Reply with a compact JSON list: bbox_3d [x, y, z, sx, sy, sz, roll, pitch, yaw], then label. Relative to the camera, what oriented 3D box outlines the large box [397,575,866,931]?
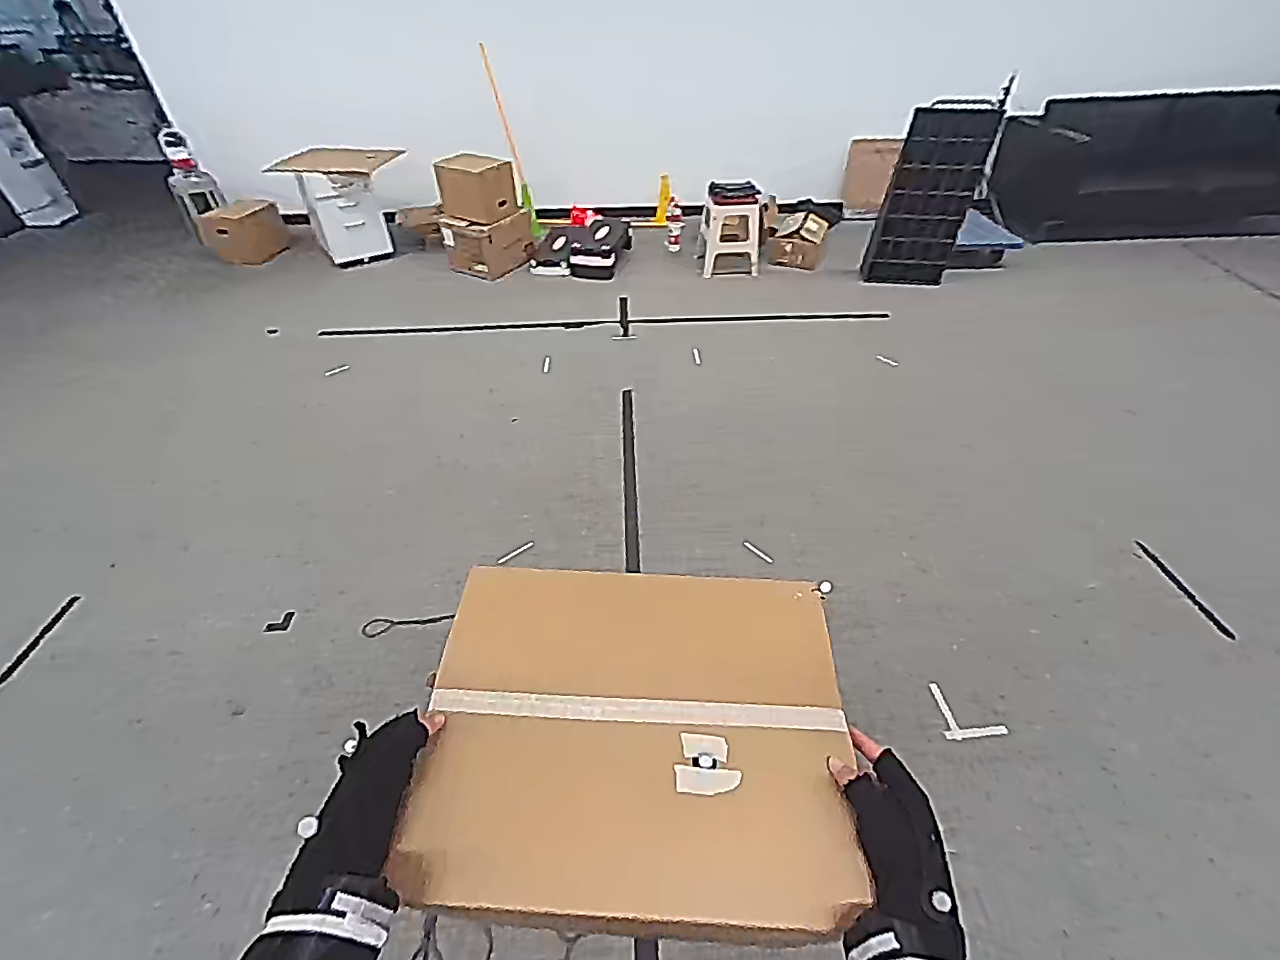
[{"bbox_3d":[-0.007,0.334,0.658,0.408,0.320,0.320,3,49,1],"label":"large box"}]
